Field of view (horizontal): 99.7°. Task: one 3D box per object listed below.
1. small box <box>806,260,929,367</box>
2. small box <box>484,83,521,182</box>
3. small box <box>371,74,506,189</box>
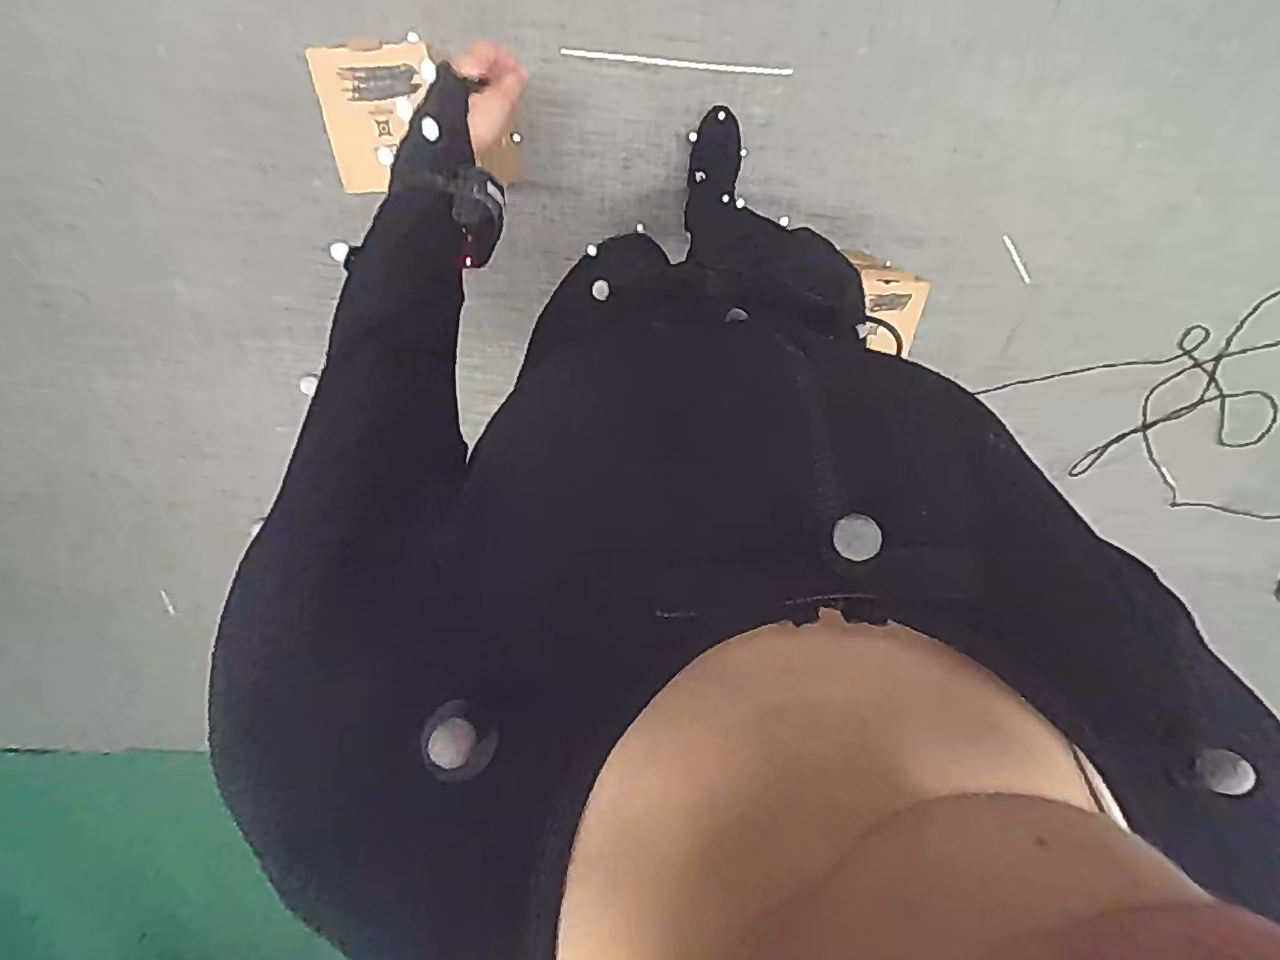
[{"bbox_3d":[0.458,-0.350,1.123,0.168,0.176,0.179,4,122,0],"label":"small box"},{"bbox_3d":[-0.348,-0.720,1.123,0.179,0.176,0.168,3,120,0],"label":"small box"},{"bbox_3d":[-0.352,-0.629,0.987,0.179,0.176,0.168,1,119,2],"label":"small box"}]
